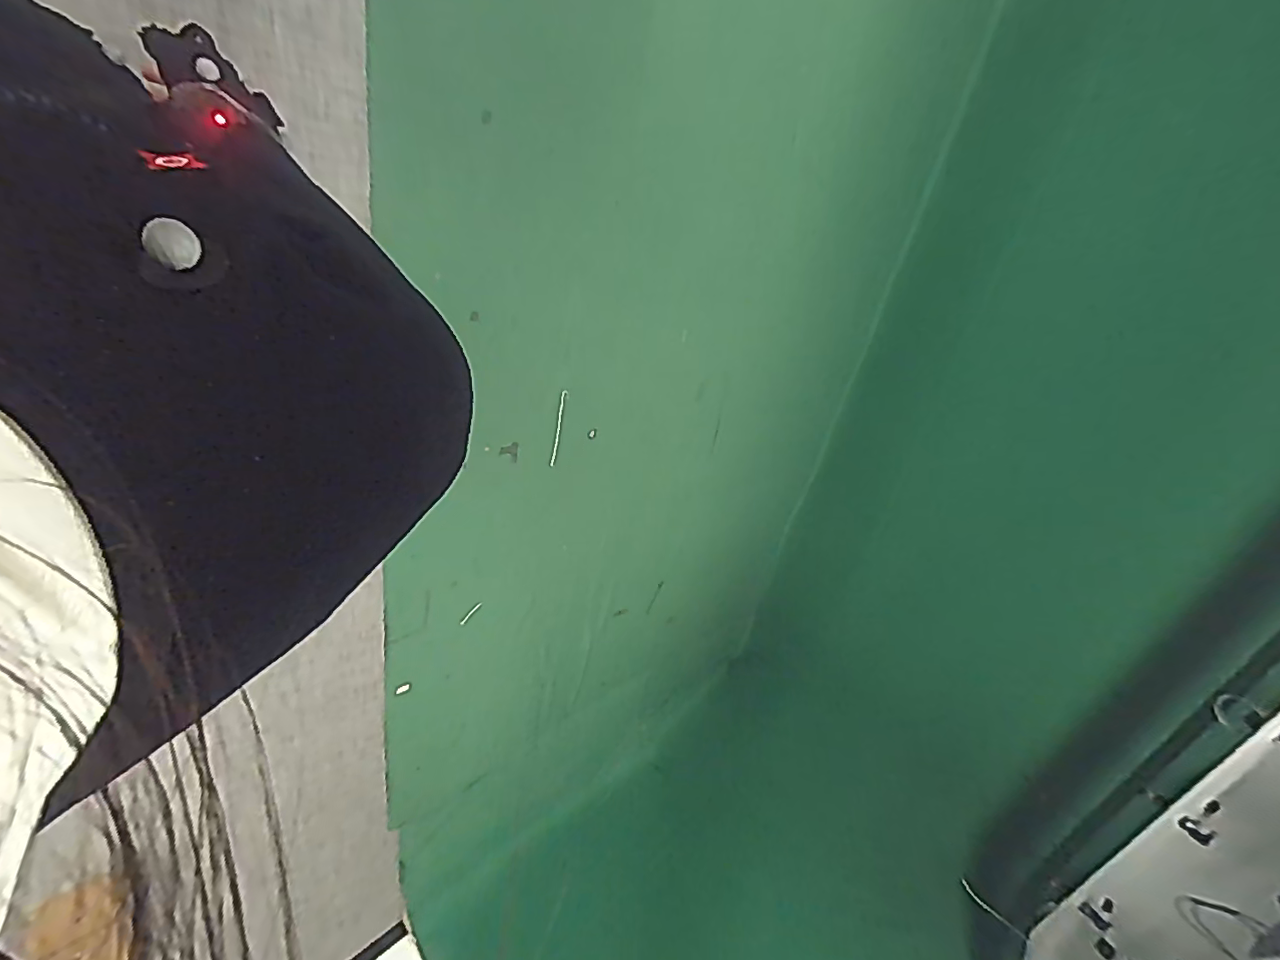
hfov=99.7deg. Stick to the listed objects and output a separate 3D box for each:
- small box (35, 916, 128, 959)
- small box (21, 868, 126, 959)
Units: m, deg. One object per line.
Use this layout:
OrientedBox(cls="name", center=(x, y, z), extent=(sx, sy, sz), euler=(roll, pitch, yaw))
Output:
OrientedBox(cls="small box", center=(-1.485, 1.327, 1.432), extent=(0.179, 0.176, 0.168), euler=(-15, 129, -44))
OrientedBox(cls="small box", center=(-1.600, 1.261, 1.527), extent=(0.179, 0.176, 0.168), euler=(-19, 132, -45))
